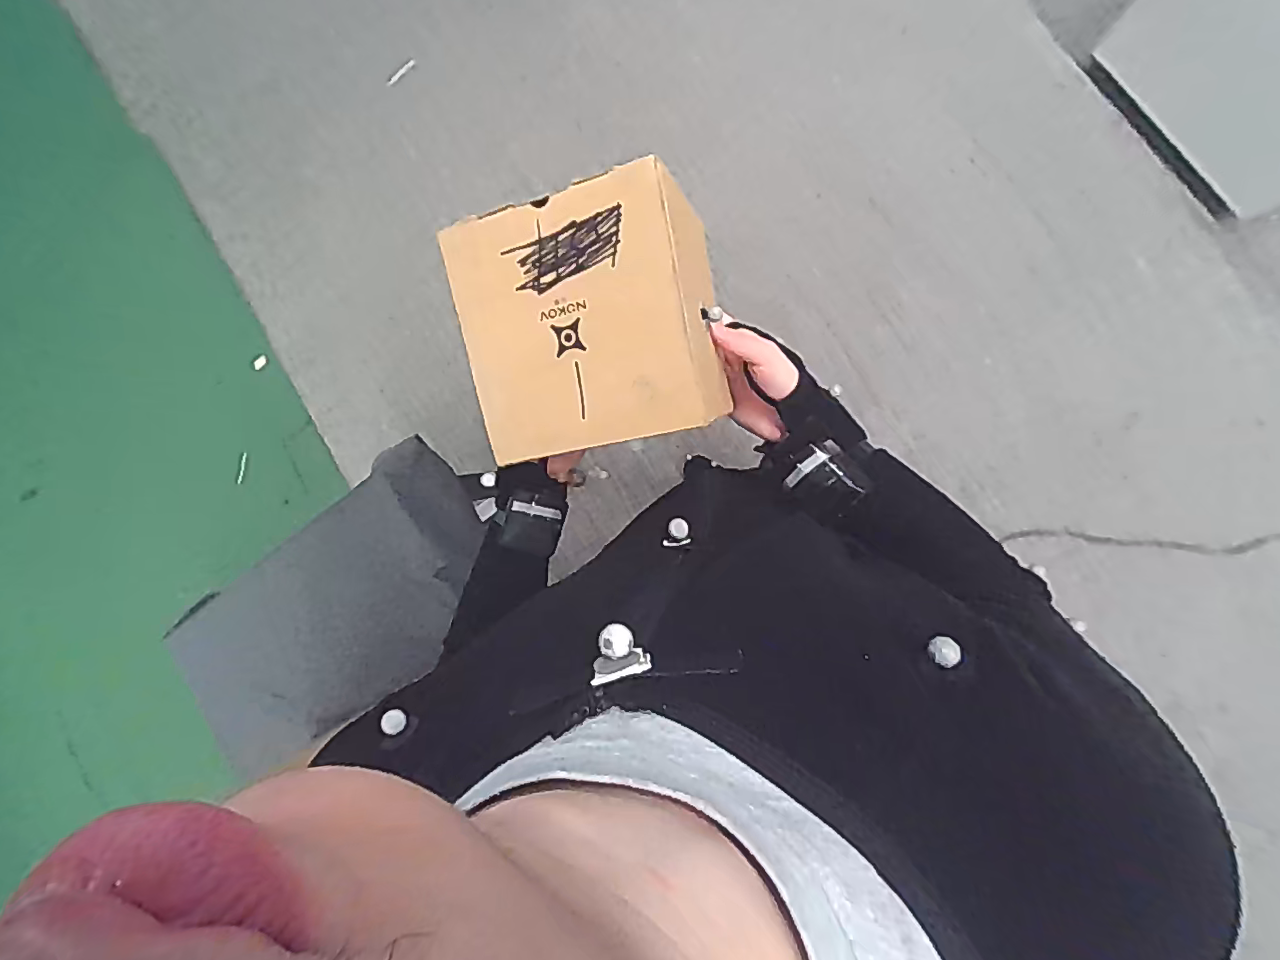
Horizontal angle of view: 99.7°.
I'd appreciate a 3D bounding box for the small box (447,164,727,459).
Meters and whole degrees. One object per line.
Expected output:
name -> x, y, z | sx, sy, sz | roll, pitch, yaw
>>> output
small box -> -0.027, -0.123, 0.453 | 0.168, 0.176, 0.179 | -8, 98, 18
